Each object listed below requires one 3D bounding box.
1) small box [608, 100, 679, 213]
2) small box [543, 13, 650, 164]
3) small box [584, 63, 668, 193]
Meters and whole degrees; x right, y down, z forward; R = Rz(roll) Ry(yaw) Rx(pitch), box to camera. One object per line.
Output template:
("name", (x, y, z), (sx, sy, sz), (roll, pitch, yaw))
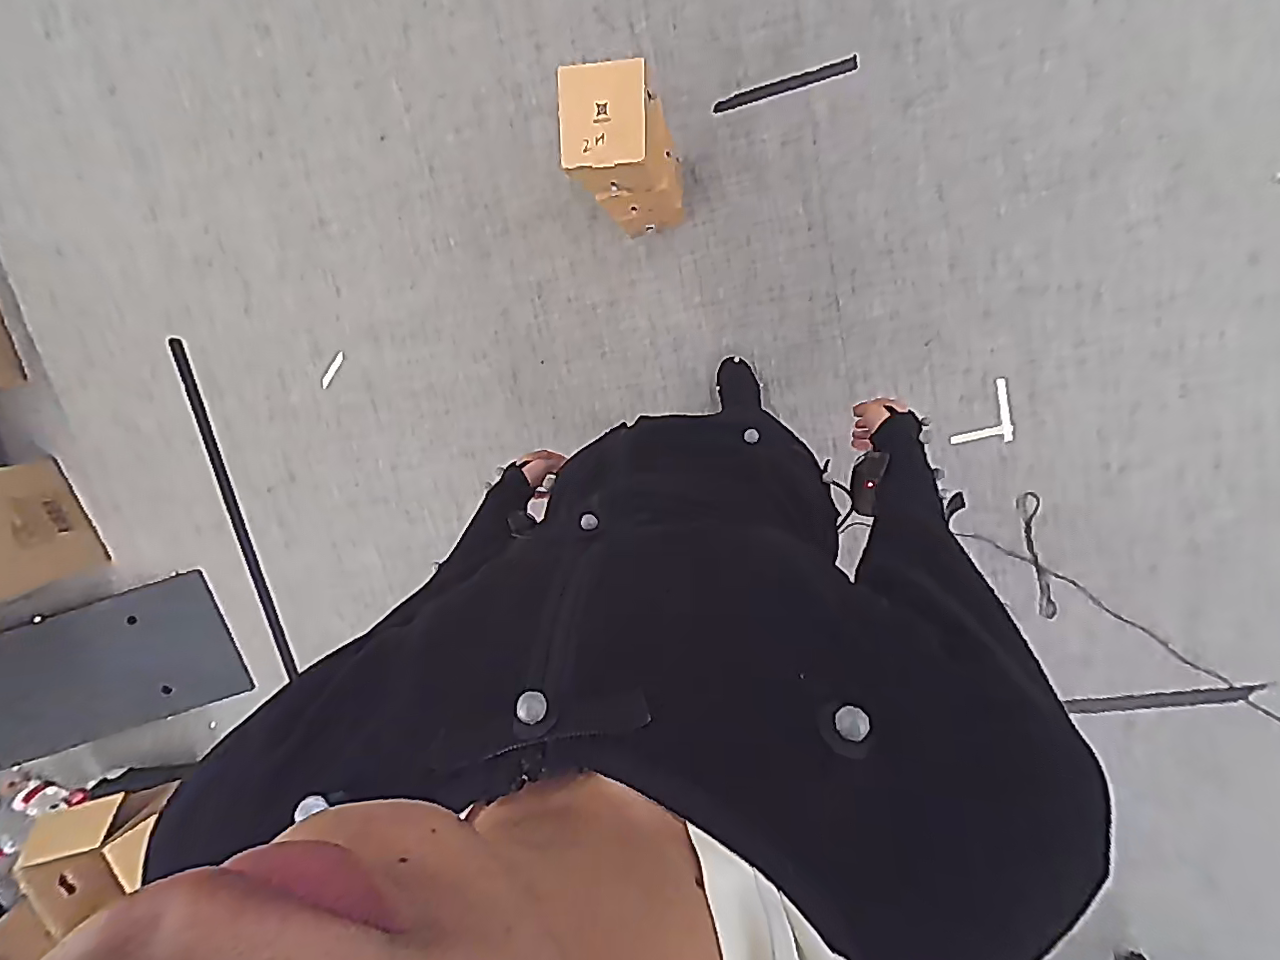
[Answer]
("small box", (0.001, -0.781, 1.324), (0.168, 0.176, 0.179), (-7, 101, 10))
("small box", (-0.075, -0.718, 1.012), (0.168, 0.176, 0.179), (1, 104, 9))
("small box", (-0.033, -0.748, 1.169), (0.168, 0.176, 0.179), (-5, 103, 10))
